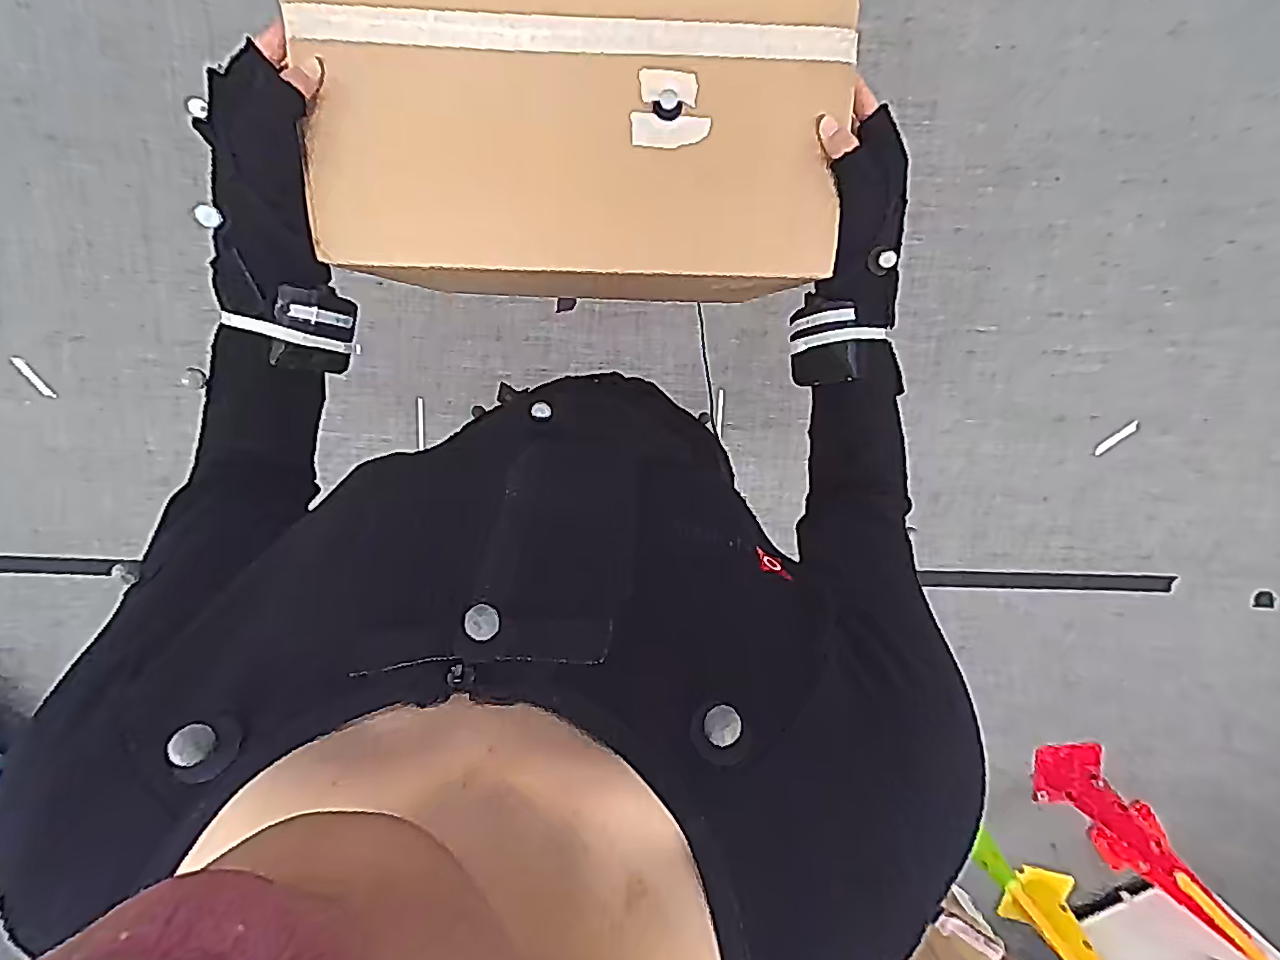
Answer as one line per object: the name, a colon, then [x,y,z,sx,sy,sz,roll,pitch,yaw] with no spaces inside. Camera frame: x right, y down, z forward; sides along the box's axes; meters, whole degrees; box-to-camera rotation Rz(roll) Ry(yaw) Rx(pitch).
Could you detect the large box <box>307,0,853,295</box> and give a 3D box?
large box: [-0.049,-0.362,0.542,0.408,0.320,0.320,0,105,-3]
